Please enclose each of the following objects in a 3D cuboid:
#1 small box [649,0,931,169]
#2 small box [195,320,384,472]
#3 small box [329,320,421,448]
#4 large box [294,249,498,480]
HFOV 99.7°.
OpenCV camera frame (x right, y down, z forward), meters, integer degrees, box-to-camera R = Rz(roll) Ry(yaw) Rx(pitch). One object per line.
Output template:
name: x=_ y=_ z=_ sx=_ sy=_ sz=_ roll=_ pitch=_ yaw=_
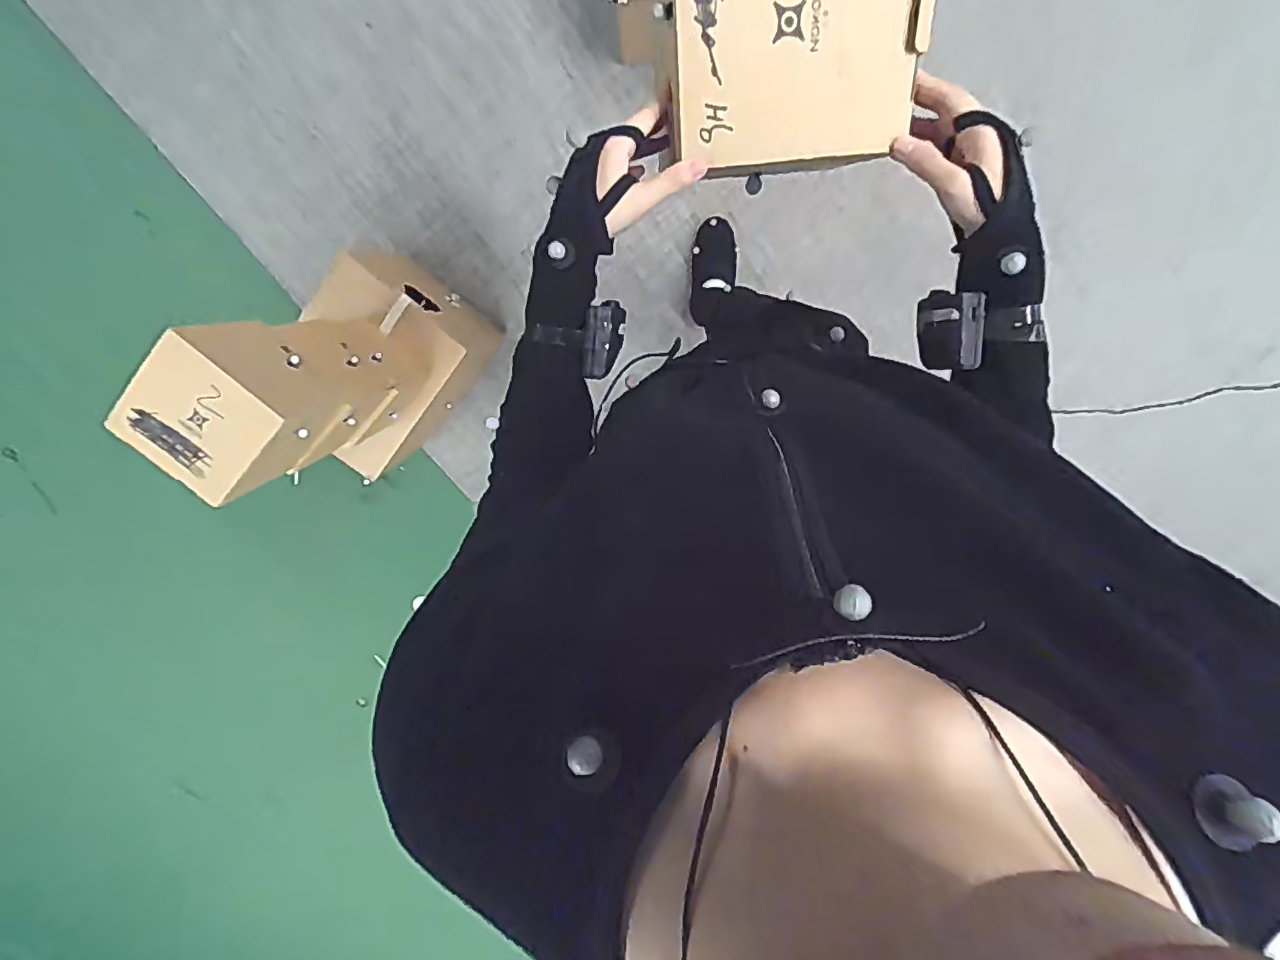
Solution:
small box: x=0.105 y=-0.354 z=0.433 sx=0.179 sy=0.176 sz=0.168 roll=-5 pitch=115 yaw=-3
small box: x=-0.572 y=-0.148 z=0.909 sx=0.179 sy=0.176 sz=0.168 roll=-41 pitch=105 yaw=14
small box: x=-0.569 y=-0.197 z=1.063 sx=0.168 sy=0.176 sz=0.179 roll=-42 pitch=105 yaw=14
large box: x=-0.606 y=-0.284 z=1.294 sx=0.320 sy=0.320 sz=0.408 roll=39 pitch=108 yaw=-11
